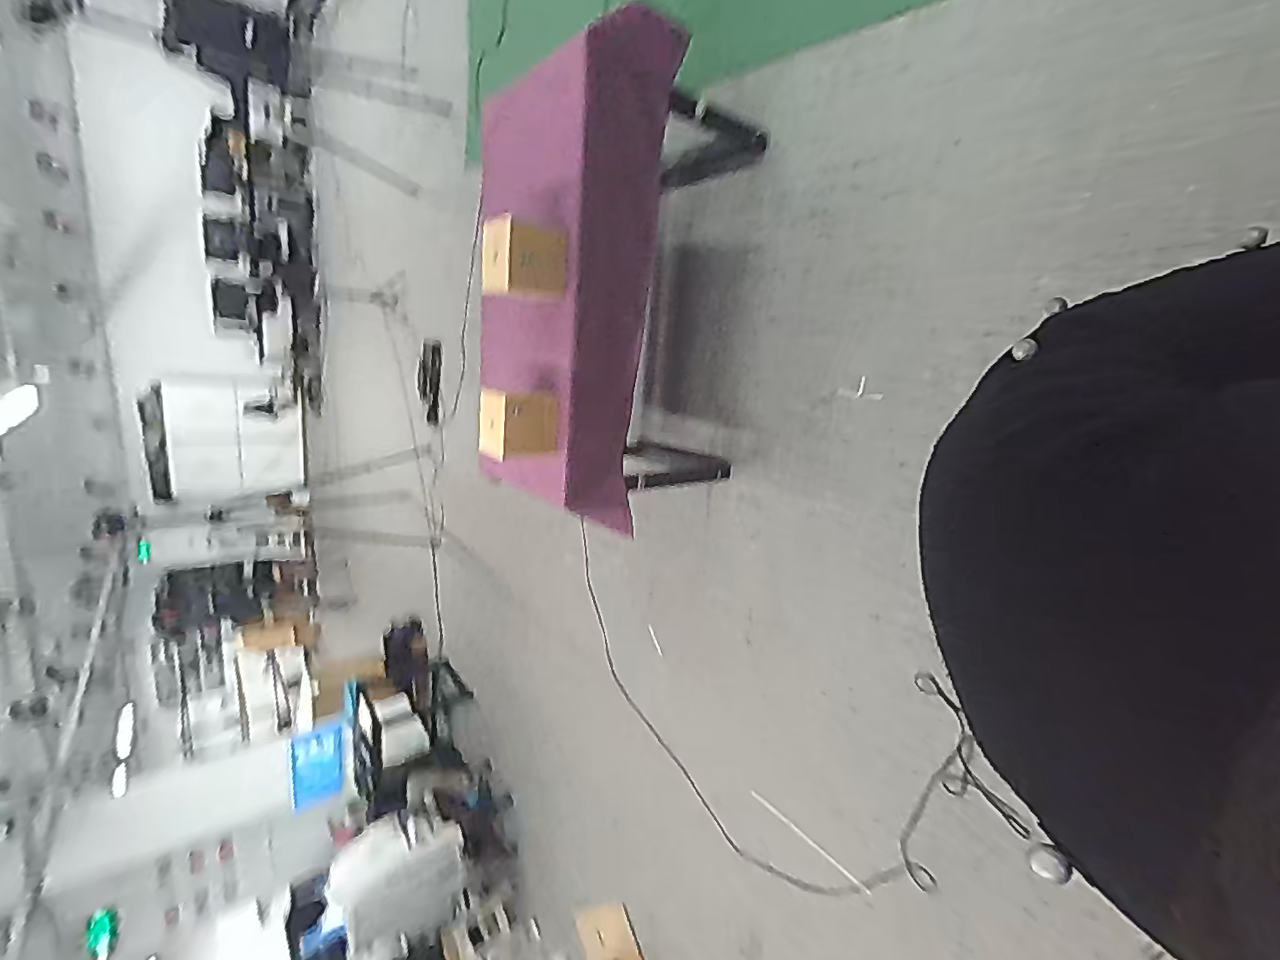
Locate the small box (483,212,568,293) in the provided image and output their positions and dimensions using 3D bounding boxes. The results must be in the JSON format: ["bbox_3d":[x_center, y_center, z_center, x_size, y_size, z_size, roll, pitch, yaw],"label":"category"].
[{"bbox_3d":[-0.308,-0.602,1.452,0.168,0.176,0.179,22,111,47],"label":"small box"}]

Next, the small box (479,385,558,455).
[{"bbox_3d":[-0.349,-0.175,1.555,0.168,0.176,0.179,19,108,48],"label":"small box"}]
